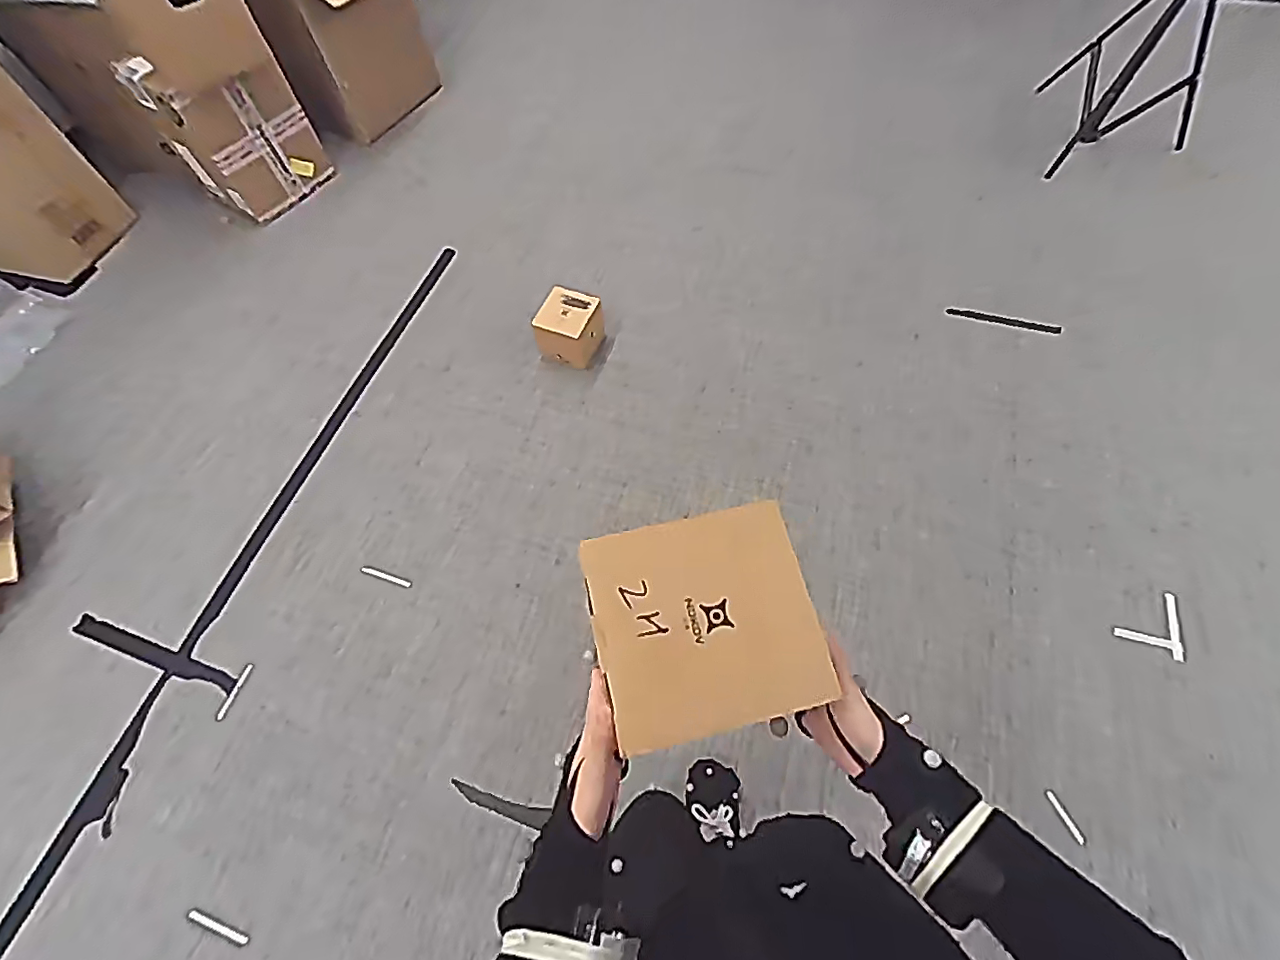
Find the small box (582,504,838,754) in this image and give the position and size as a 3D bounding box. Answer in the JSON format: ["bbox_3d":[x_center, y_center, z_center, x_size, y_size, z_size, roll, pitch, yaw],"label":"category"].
[{"bbox_3d":[0.046,0.138,0.501,0.179,0.176,0.168,-11,69,-8],"label":"small box"}]
